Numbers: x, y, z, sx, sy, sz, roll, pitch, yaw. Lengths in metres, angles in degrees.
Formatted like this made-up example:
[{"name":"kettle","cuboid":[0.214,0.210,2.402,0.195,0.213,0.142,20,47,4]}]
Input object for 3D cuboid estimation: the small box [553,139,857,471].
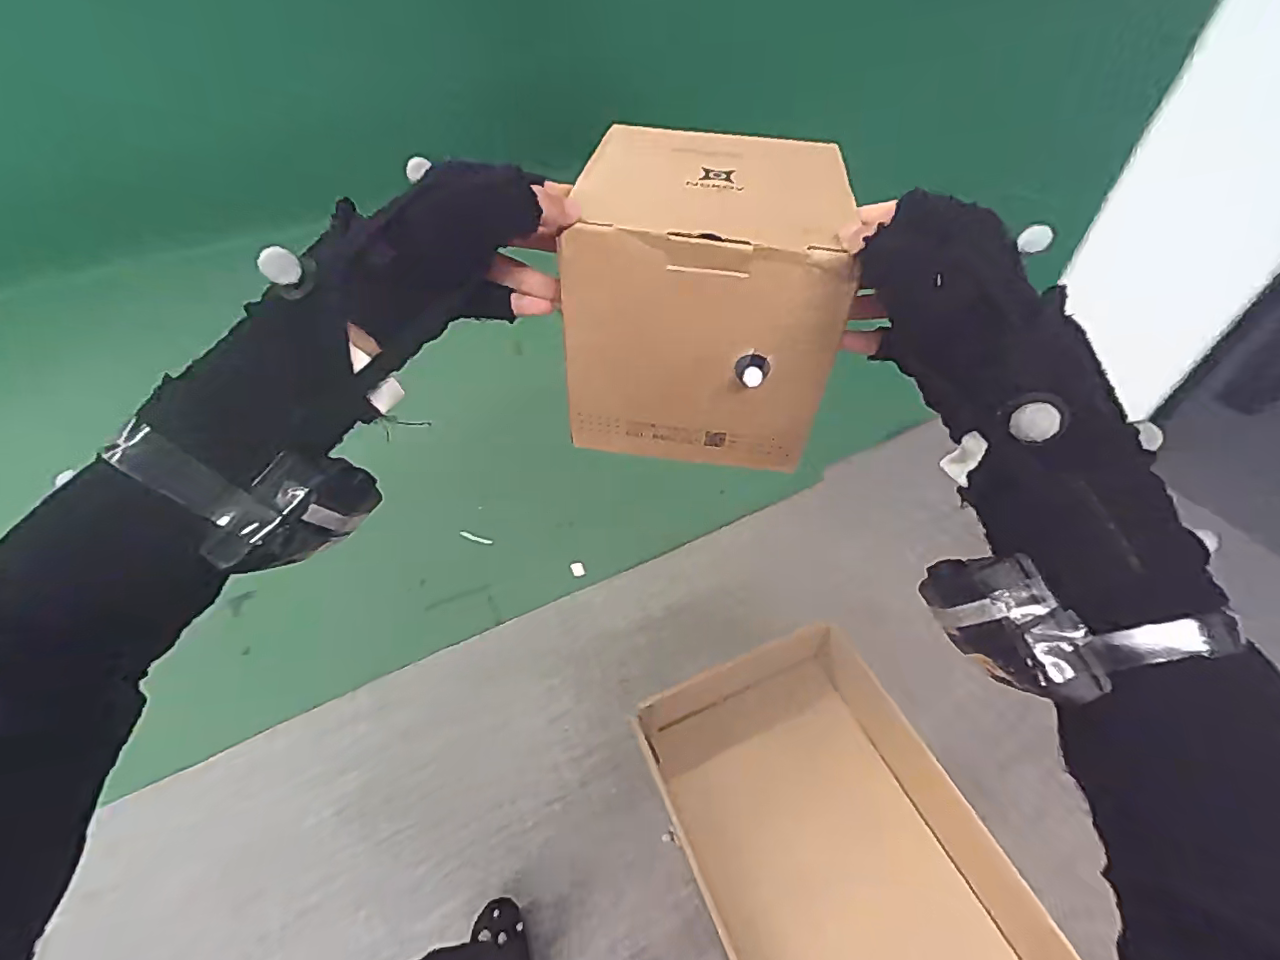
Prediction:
[{"name":"small box","cuboid":[0.041,-0.127,0.400,0.168,0.176,0.179,7,47,3]}]
